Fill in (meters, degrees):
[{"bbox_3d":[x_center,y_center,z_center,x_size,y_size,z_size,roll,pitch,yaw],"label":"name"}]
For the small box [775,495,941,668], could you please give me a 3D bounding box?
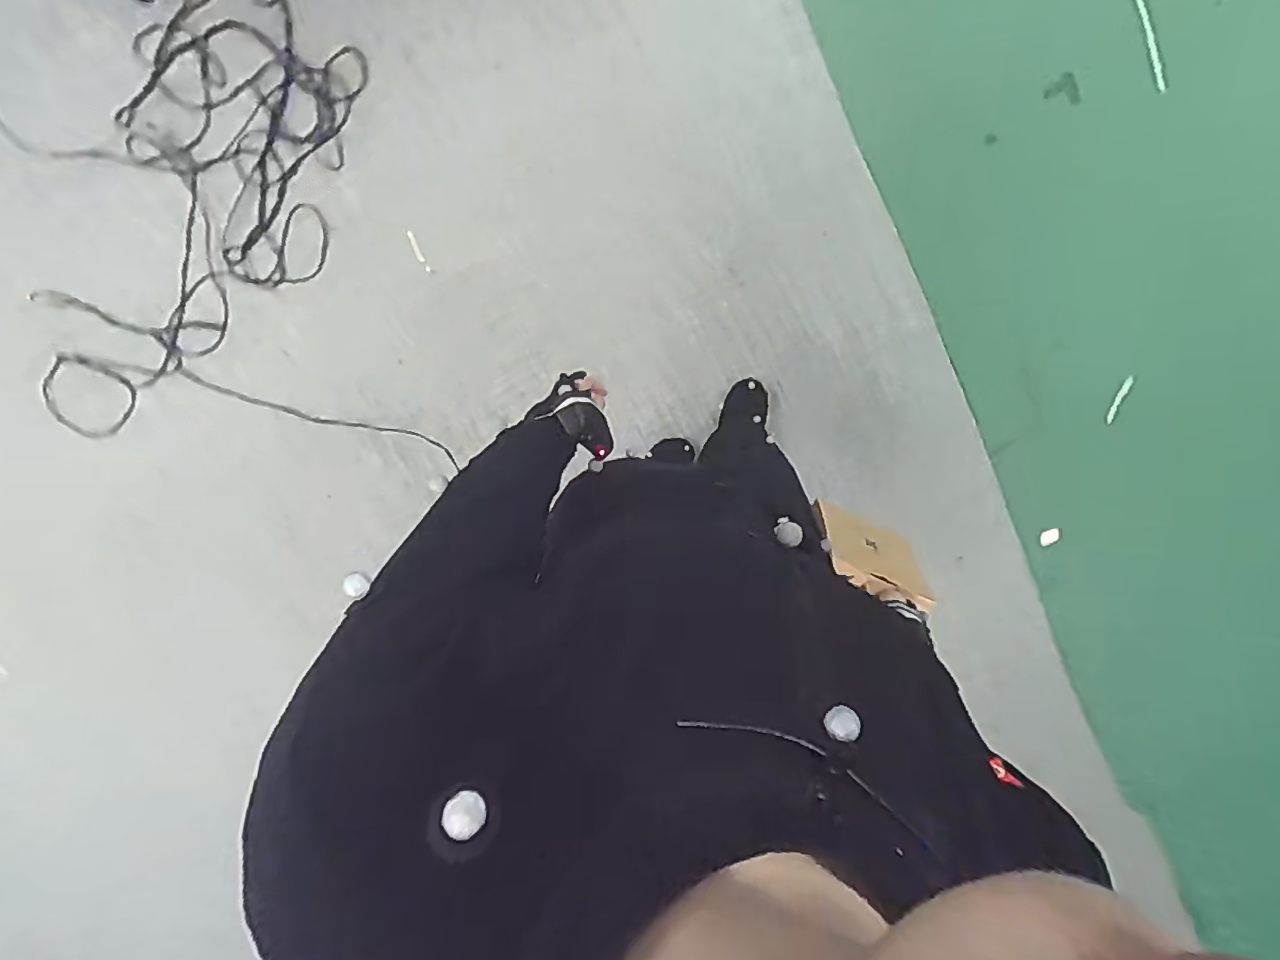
[{"bbox_3d":[0.325,0.159,0.849,0.168,0.179,0.176,23,118,-1],"label":"small box"}]
